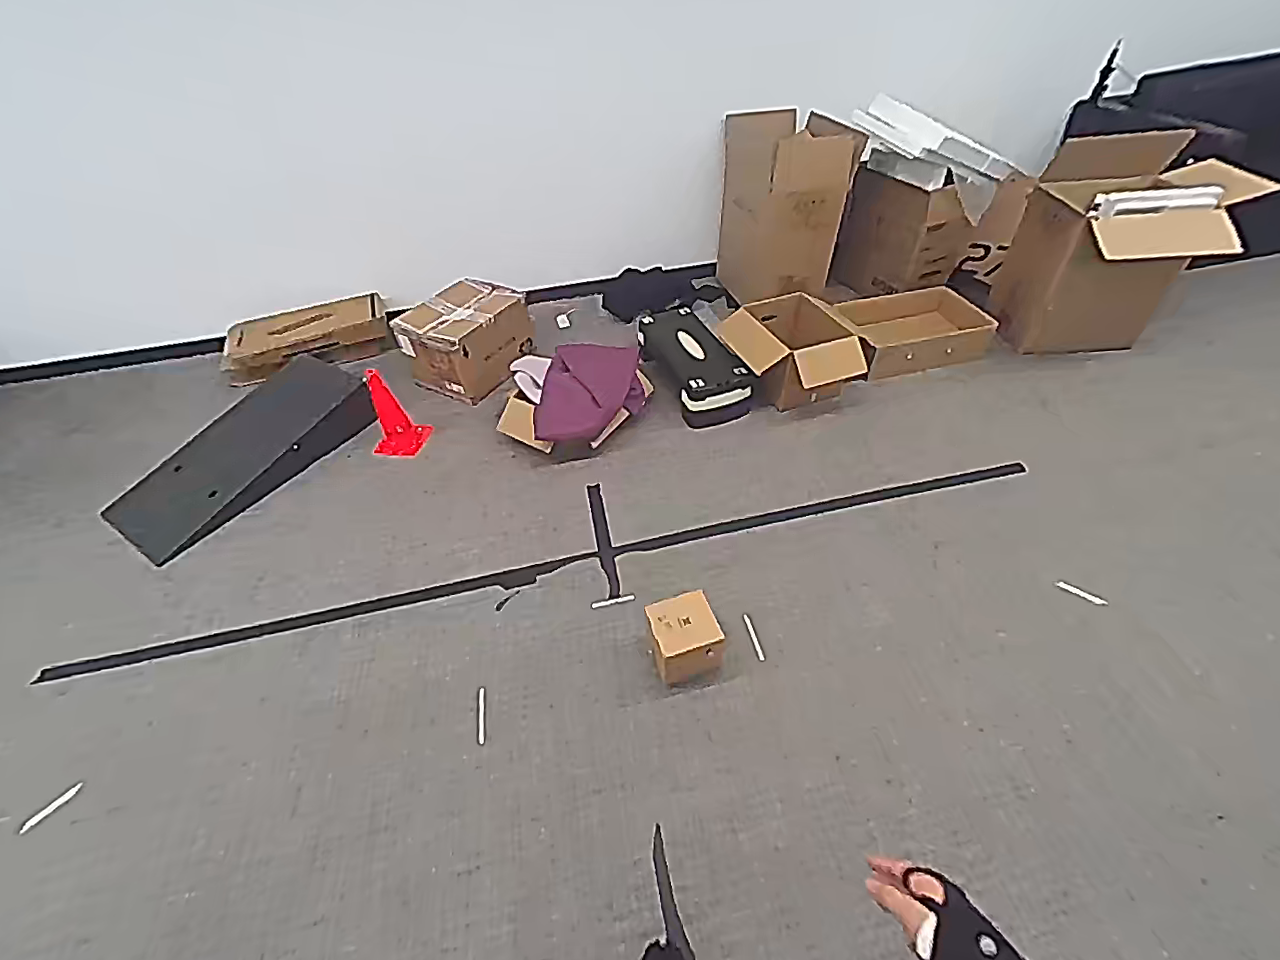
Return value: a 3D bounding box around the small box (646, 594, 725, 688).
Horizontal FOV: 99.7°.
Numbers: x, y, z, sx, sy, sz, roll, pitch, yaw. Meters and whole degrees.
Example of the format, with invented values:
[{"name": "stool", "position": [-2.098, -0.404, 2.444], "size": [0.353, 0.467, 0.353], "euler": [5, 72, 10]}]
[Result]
[{"name": "small box", "position": [0.124, 0.455, 1.523], "size": [0.179, 0.176, 0.168], "euler": [-15, 46, -11]}]
